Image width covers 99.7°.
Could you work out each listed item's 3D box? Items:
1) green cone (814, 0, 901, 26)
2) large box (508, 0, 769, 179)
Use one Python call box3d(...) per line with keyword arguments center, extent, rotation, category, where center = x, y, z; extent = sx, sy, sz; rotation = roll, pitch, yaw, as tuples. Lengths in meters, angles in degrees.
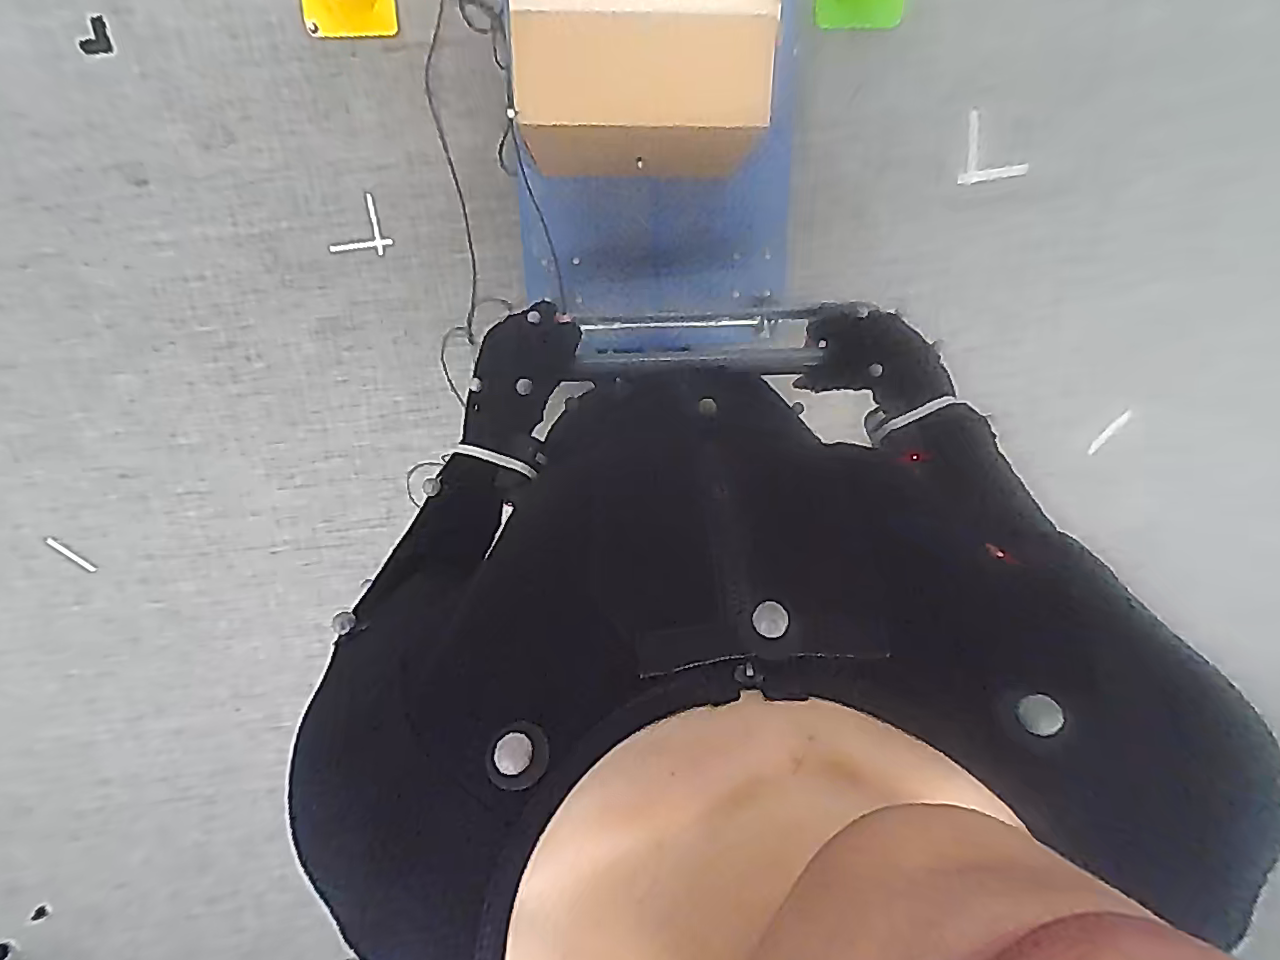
box3d(center=(0.501, -1.089, 1.043), extent=(0.202, 0.368, 0.200), rotation=(-3, 105, -3), category="green cone")
box3d(center=(-0.003, -0.745, 0.967), extent=(0.408, 0.320, 0.320), rotation=(-1, 105, -1), category="large box")
